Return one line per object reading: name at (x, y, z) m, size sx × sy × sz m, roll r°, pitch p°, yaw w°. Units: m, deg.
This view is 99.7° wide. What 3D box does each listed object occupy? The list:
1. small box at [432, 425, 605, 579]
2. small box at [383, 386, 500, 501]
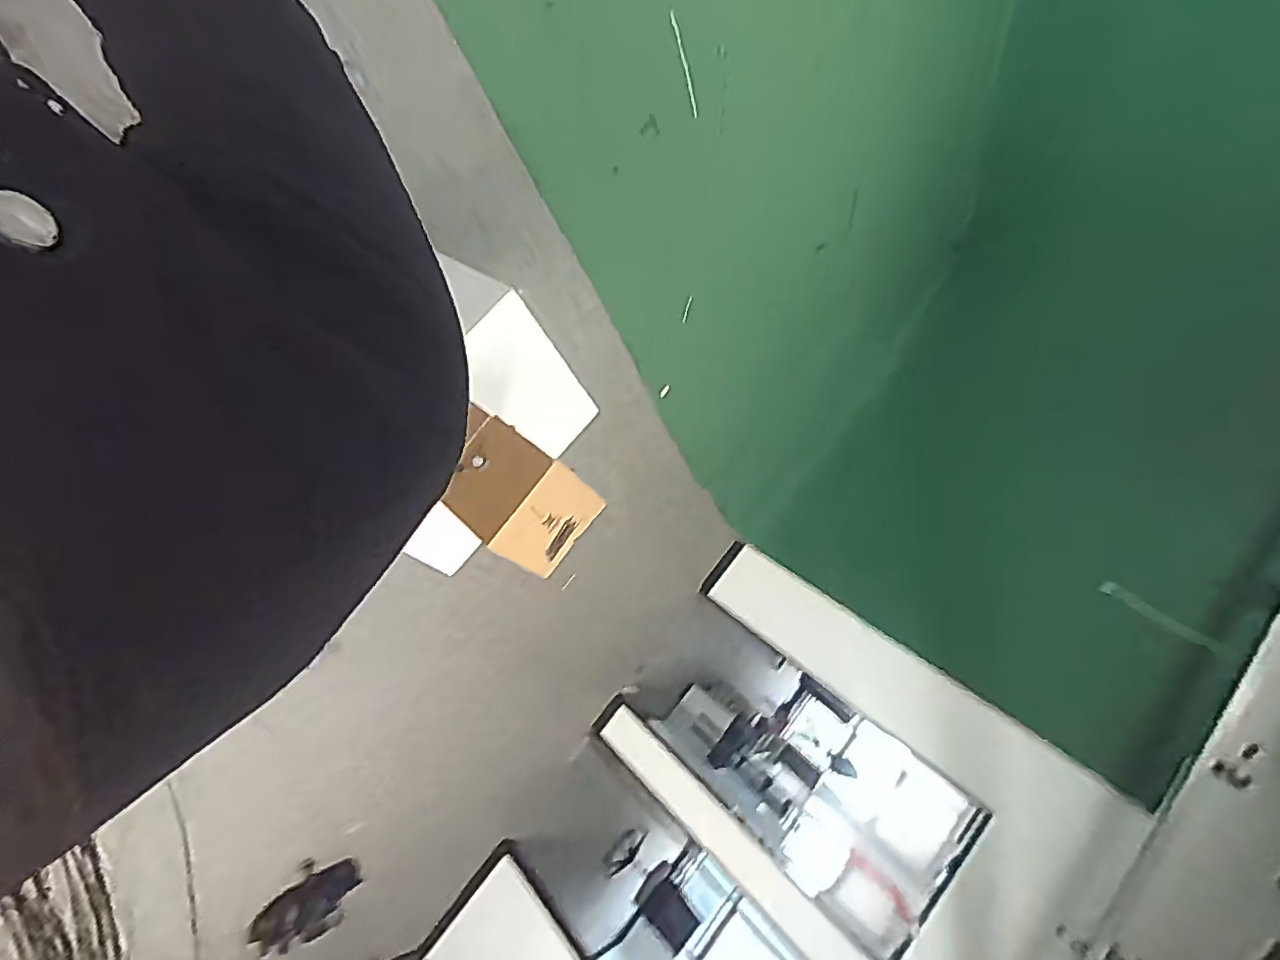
small box at (-0.196, 0.035, 0.887) m, size 0.168 × 0.176 × 0.179 m, roll -53°, pitch 149°, yaw -4°
small box at (-0.314, -0.042, 0.971) m, size 0.168 × 0.176 × 0.179 m, roll -53°, pitch 146°, yaw -6°
